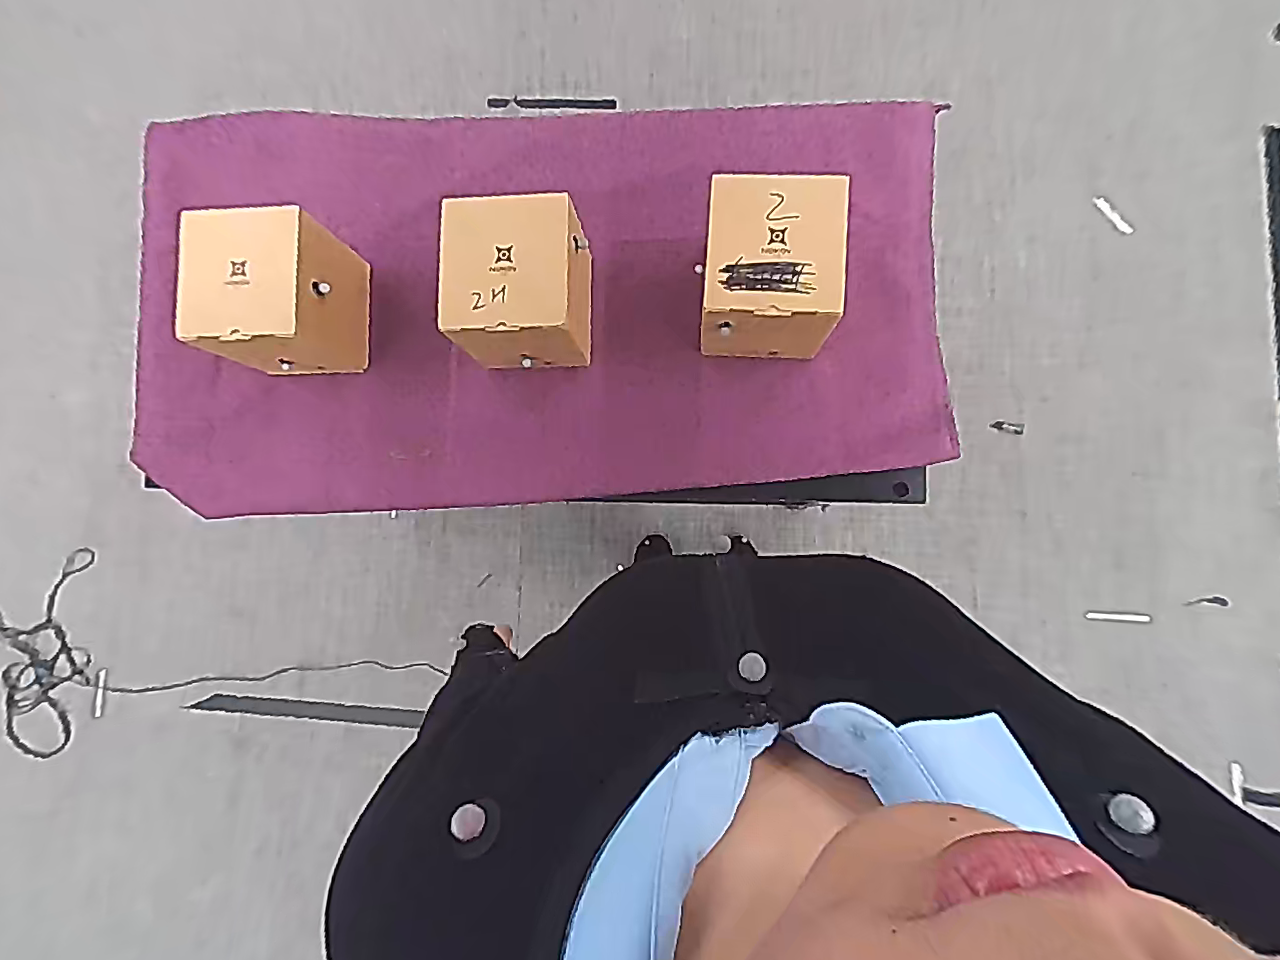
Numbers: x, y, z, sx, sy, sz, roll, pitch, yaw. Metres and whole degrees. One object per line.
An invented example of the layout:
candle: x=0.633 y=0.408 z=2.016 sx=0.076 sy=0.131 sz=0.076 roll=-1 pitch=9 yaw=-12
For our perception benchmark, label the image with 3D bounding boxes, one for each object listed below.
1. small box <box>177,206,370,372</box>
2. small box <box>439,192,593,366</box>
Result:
small box: x=-0.514 y=-0.265 z=0.782 sx=0.168 sy=0.176 sz=0.179 roll=-1 pitch=87 yaw=4
small box: x=-0.162 y=-0.268 z=0.753 sx=0.168 sy=0.176 sz=0.179 roll=0 pitch=86 yaw=5
